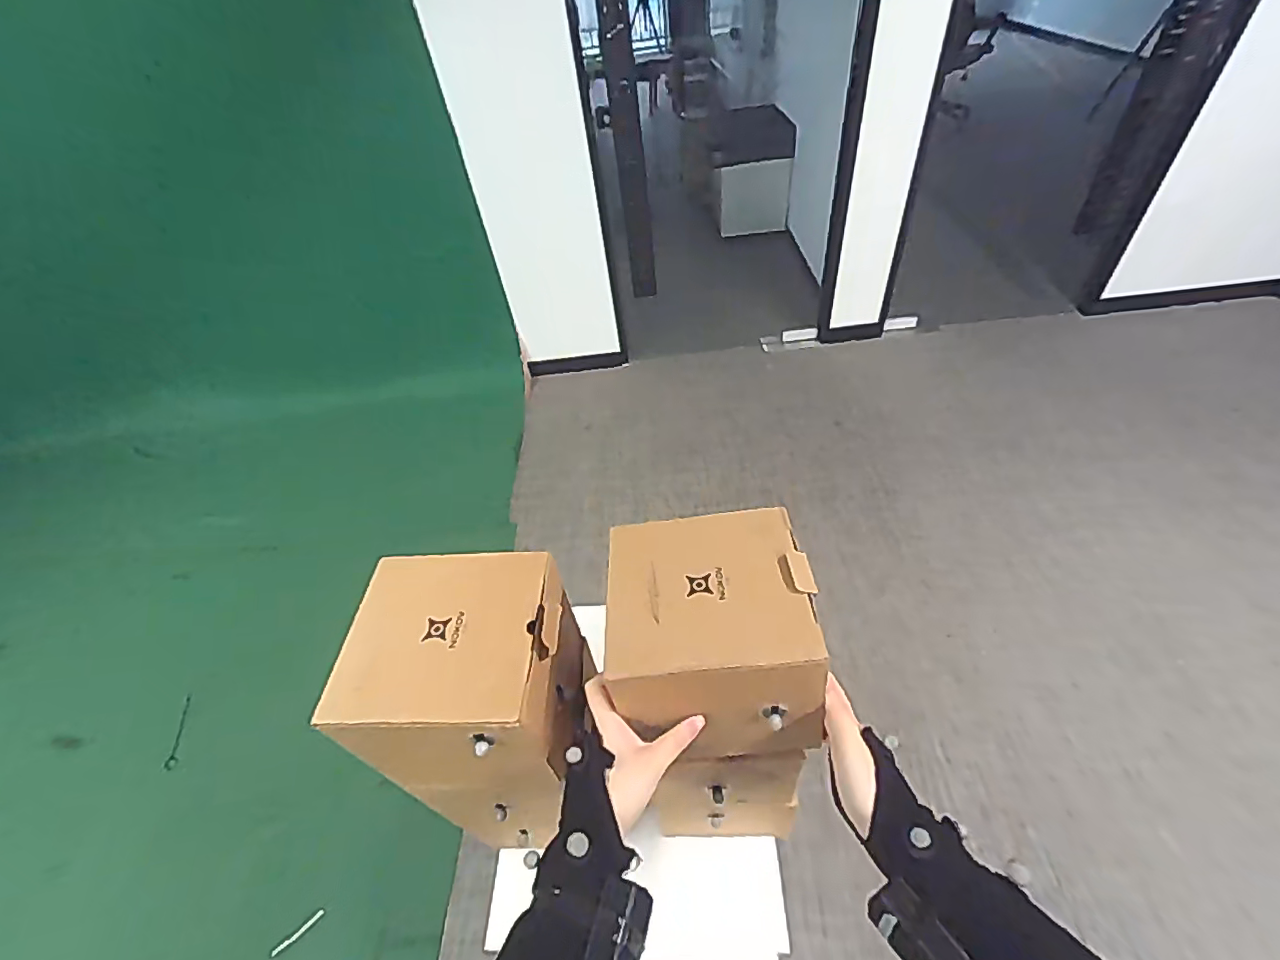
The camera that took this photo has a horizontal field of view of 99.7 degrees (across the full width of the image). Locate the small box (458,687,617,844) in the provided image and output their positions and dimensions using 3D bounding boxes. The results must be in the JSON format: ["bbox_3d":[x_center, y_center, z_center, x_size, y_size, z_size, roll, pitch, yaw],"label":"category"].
[{"bbox_3d":[-0.133,0.412,0.780,0.179,0.176,0.168,-2,47,4],"label":"small box"}]

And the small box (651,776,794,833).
[{"bbox_3d":[0.112,0.389,0.767,0.179,0.176,0.168,-3,47,6],"label":"small box"}]

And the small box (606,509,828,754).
[{"bbox_3d":[0.072,0.152,0.532,0.179,0.176,0.168,-7,42,7],"label":"small box"}]

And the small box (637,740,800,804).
[{"bbox_3d":[0.086,0.274,0.649,0.168,0.176,0.179,-5,46,3],"label":"small box"}]

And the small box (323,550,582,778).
[{"bbox_3d":[-0.164,0.187,0.544,0.179,0.176,0.168,-2,46,4],"label":"small box"}]
